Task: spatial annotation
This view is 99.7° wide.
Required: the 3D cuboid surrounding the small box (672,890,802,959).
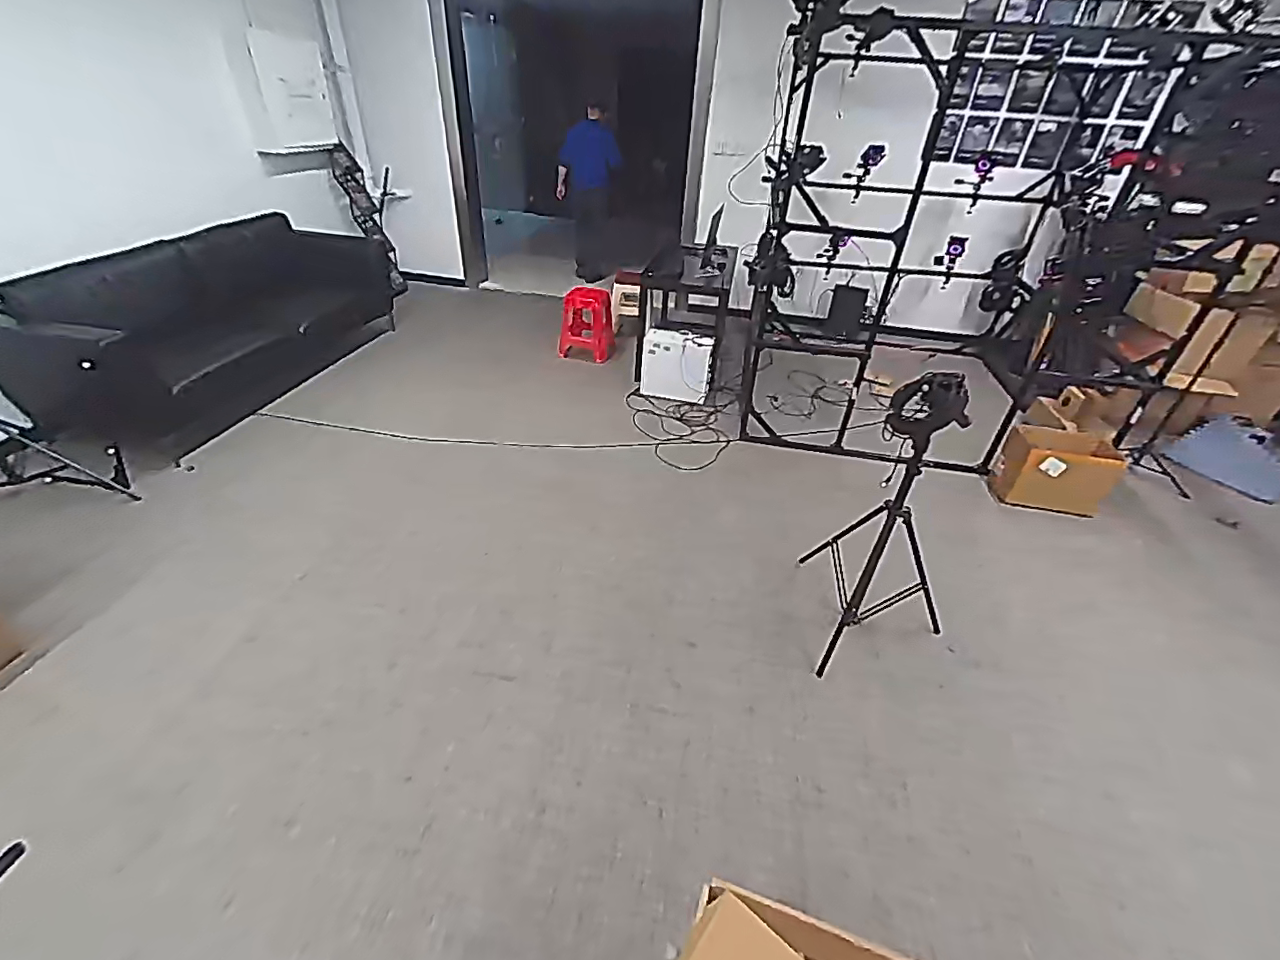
[{"bbox_3d":[0.110,0.607,0.600,0.179,0.176,0.168,33,52,25],"label":"small box"}]
